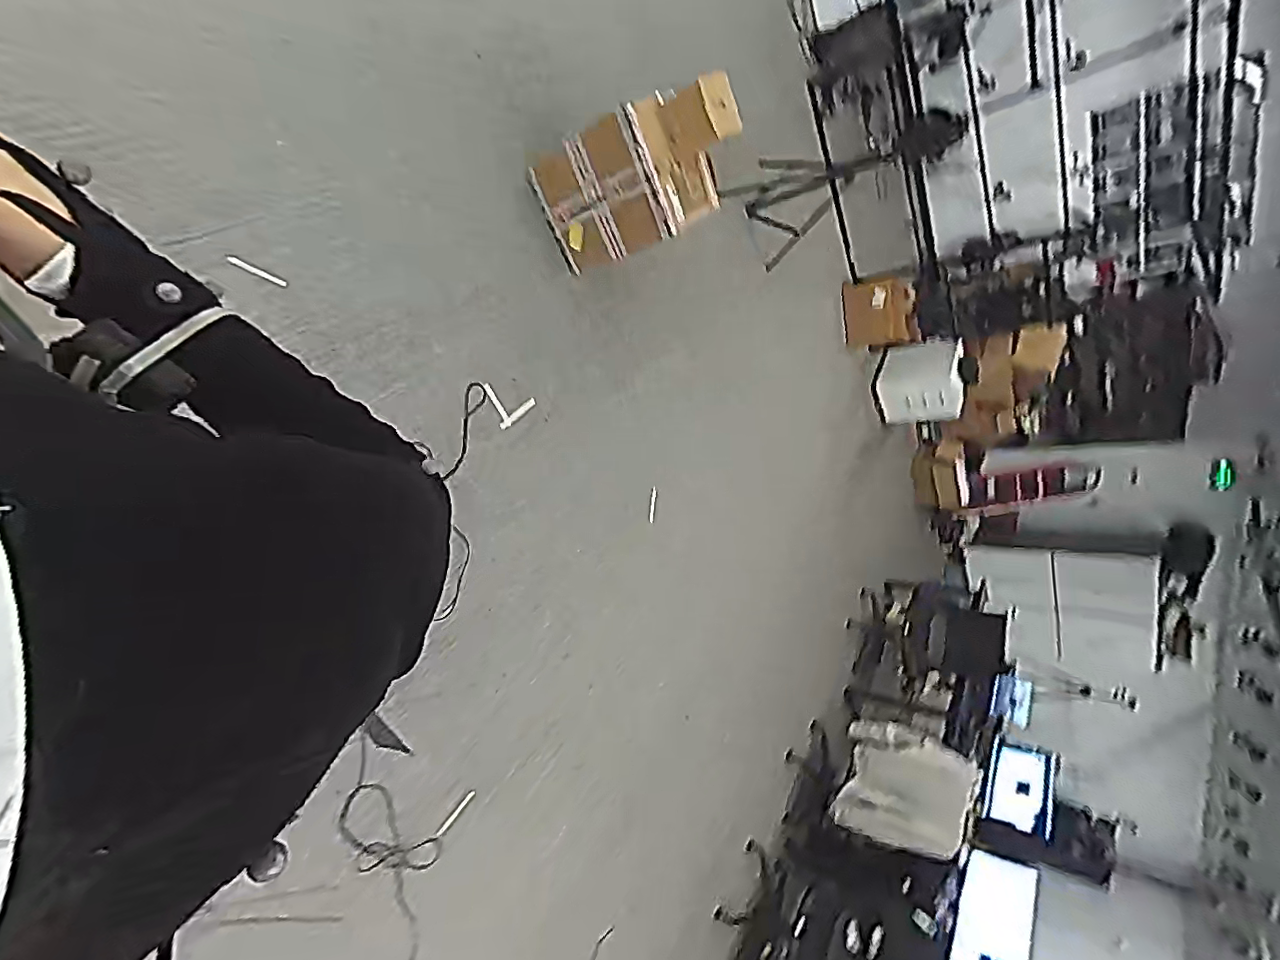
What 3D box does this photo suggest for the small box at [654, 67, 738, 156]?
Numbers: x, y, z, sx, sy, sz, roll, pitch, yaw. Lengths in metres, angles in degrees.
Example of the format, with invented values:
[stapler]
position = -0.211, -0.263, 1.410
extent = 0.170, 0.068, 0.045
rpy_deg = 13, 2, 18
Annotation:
[small box]
position = 0.175, -1.149, 1.690
extent = 0.179, 0.176, 0.168
rpy_deg = -46, 121, -36
